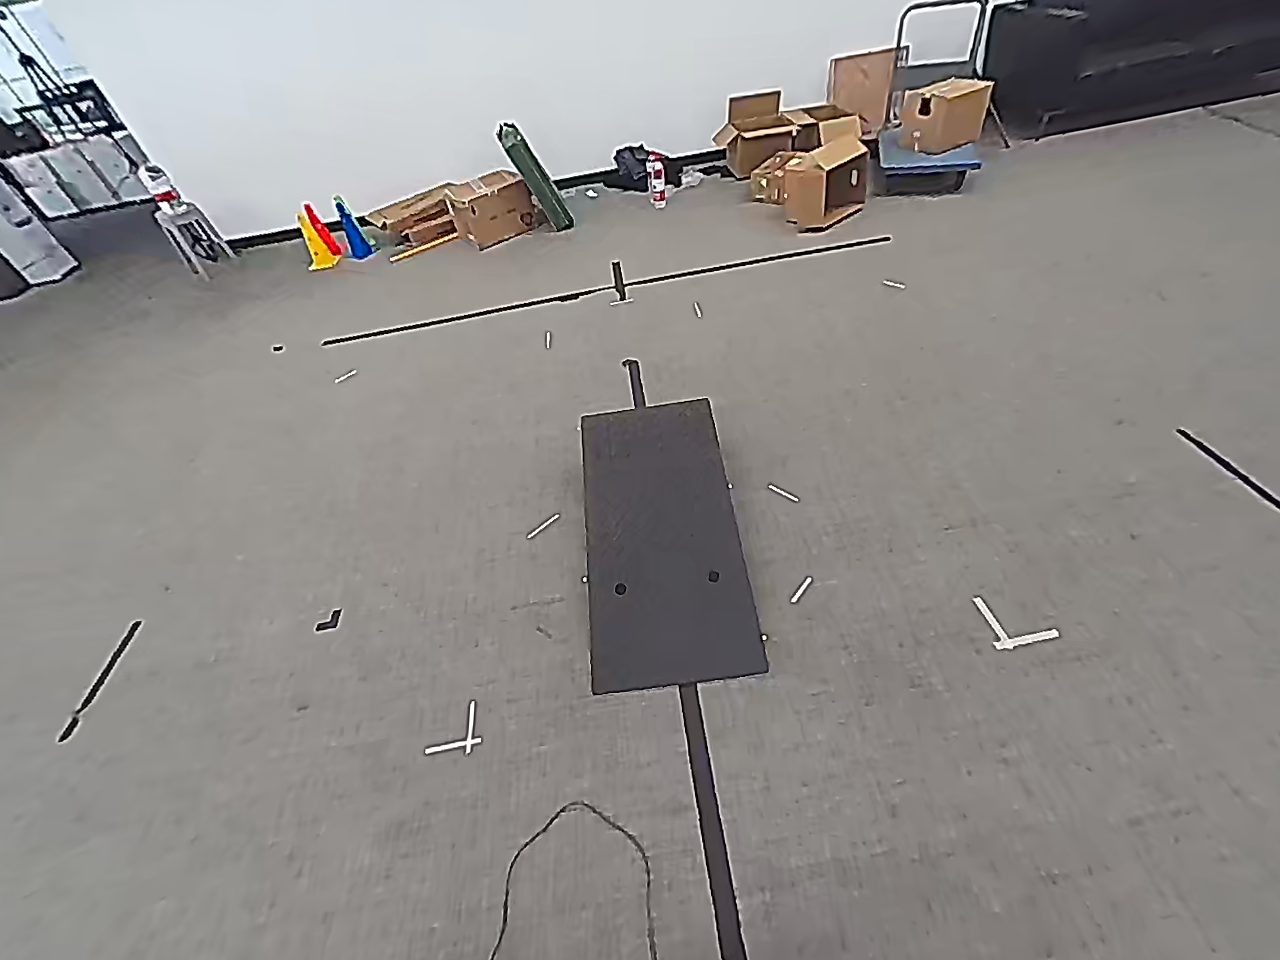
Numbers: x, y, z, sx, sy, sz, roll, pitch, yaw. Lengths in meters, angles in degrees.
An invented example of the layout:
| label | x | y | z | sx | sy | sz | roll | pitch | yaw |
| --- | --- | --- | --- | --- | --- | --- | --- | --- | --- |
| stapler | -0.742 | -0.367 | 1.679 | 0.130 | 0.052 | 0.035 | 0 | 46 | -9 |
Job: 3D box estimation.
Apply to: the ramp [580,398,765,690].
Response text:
| label | x | y | z | sx | sy | sz | roll | pitch | yaw |
| --- | --- | --- | --- | --- | --- | --- | --- | --- | --- |
| ramp | 0.062 | 0.140 | 1.765 | 0.509 | 0.206 | 0.991 | -9 | 46 | 1 |
